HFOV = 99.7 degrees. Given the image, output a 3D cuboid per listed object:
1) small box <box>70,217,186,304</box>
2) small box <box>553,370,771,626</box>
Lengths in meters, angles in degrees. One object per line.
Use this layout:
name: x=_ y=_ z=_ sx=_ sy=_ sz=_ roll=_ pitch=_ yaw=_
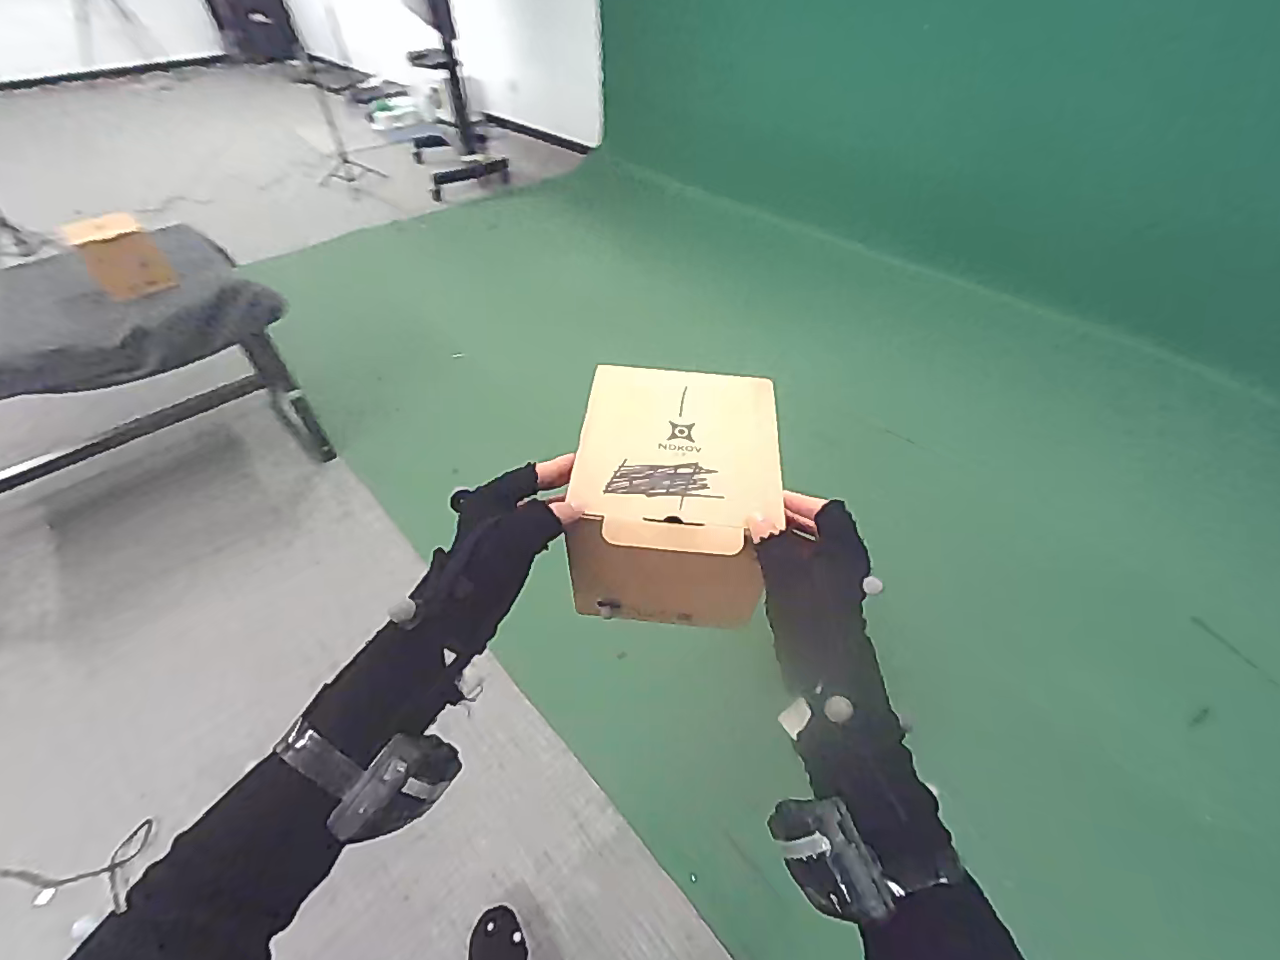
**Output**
small box: x=-1.445 y=-0.620 z=1.536 sx=0.179 sy=0.176 sz=0.168 roll=34 pitch=55 yaw=31
small box: x=0.022 y=0.021 z=0.511 sx=0.168 sy=0.176 sz=0.179 roll=5 pitch=49 yaw=2
